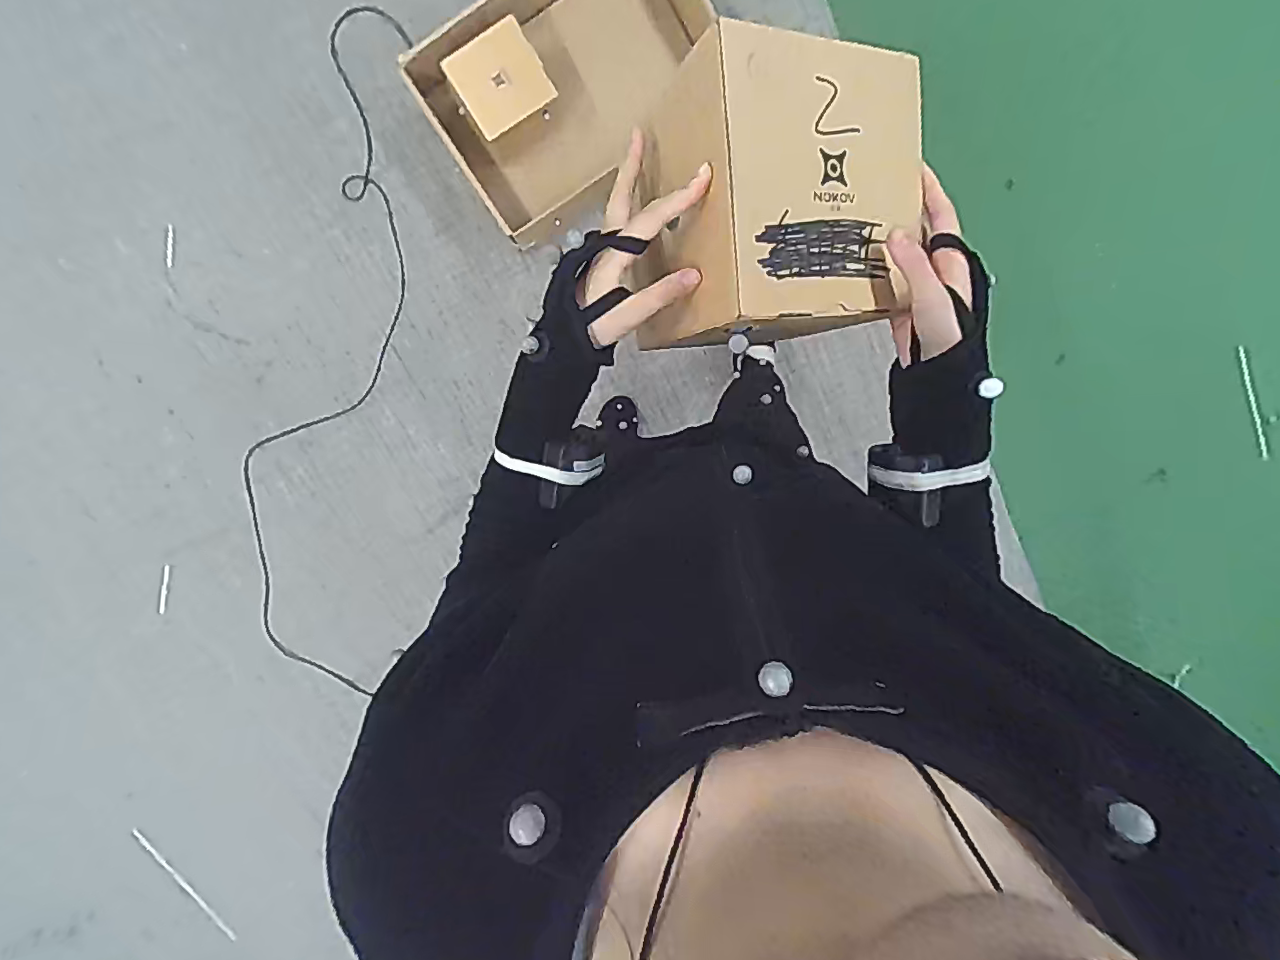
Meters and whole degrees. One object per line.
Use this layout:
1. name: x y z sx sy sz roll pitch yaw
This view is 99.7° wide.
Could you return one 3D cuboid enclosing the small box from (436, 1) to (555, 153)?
1. small box: -0.295 -0.840 1.151 0.179 0.176 0.168 -33 105 2
